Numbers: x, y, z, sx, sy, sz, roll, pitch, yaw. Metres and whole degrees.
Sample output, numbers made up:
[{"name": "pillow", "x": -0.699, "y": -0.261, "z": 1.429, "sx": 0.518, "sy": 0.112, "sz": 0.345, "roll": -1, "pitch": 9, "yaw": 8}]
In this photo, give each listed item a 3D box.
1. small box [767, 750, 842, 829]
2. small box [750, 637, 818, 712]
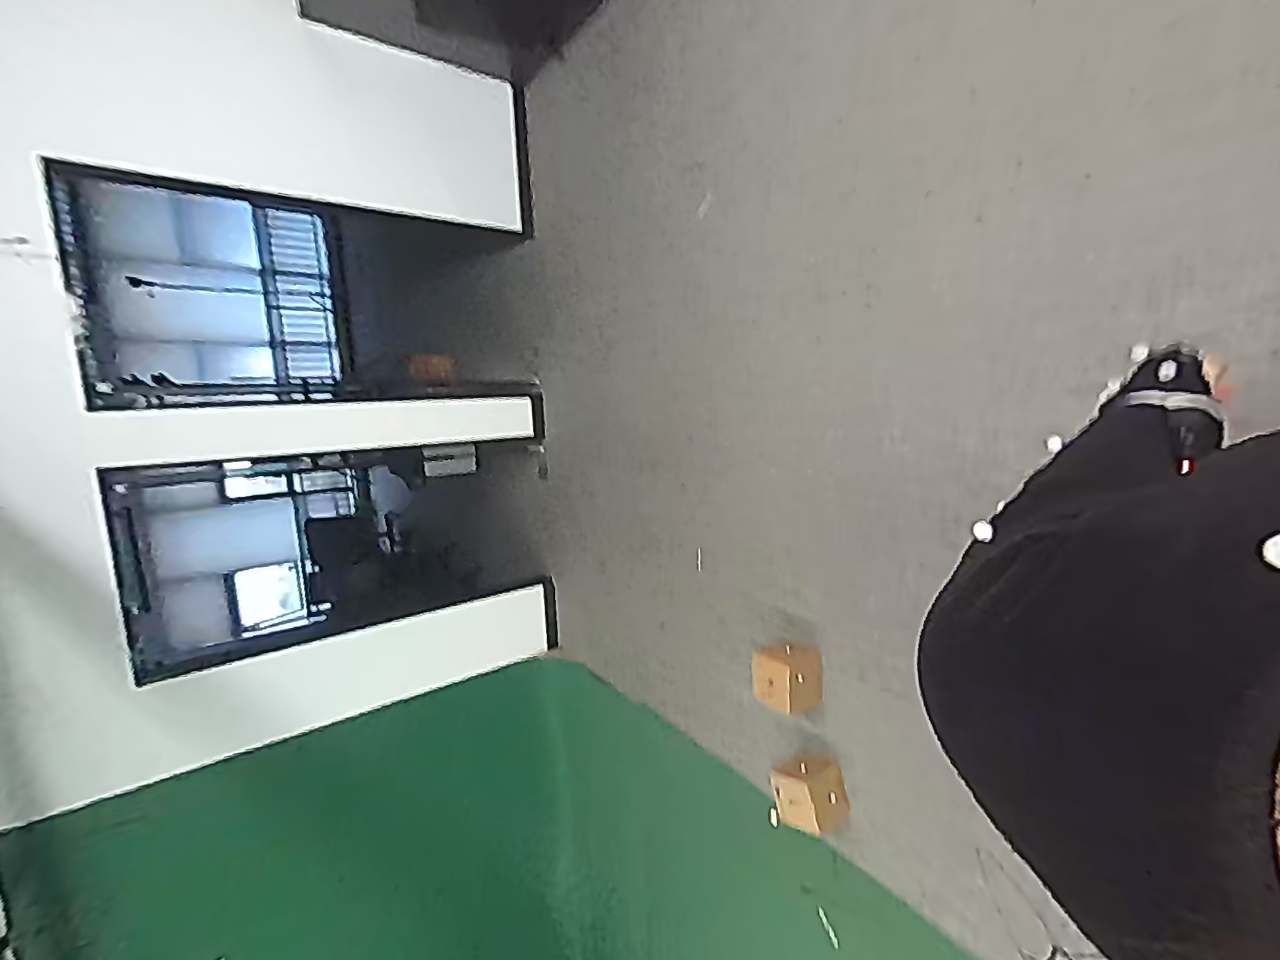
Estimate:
[{"name": "small box", "x": 0.575, "y": 1.062, "z": 1.873, "sx": 0.179, "sy": 0.176, "sz": 0.168, "roll": -20, "pitch": 81, "yaw": 54}, {"name": "small box", "x": 0.504, "y": 0.670, "z": 1.891, "sx": 0.168, "sy": 0.176, "sz": 0.179, "roll": 8, "pitch": 103, "yaw": 54}]
